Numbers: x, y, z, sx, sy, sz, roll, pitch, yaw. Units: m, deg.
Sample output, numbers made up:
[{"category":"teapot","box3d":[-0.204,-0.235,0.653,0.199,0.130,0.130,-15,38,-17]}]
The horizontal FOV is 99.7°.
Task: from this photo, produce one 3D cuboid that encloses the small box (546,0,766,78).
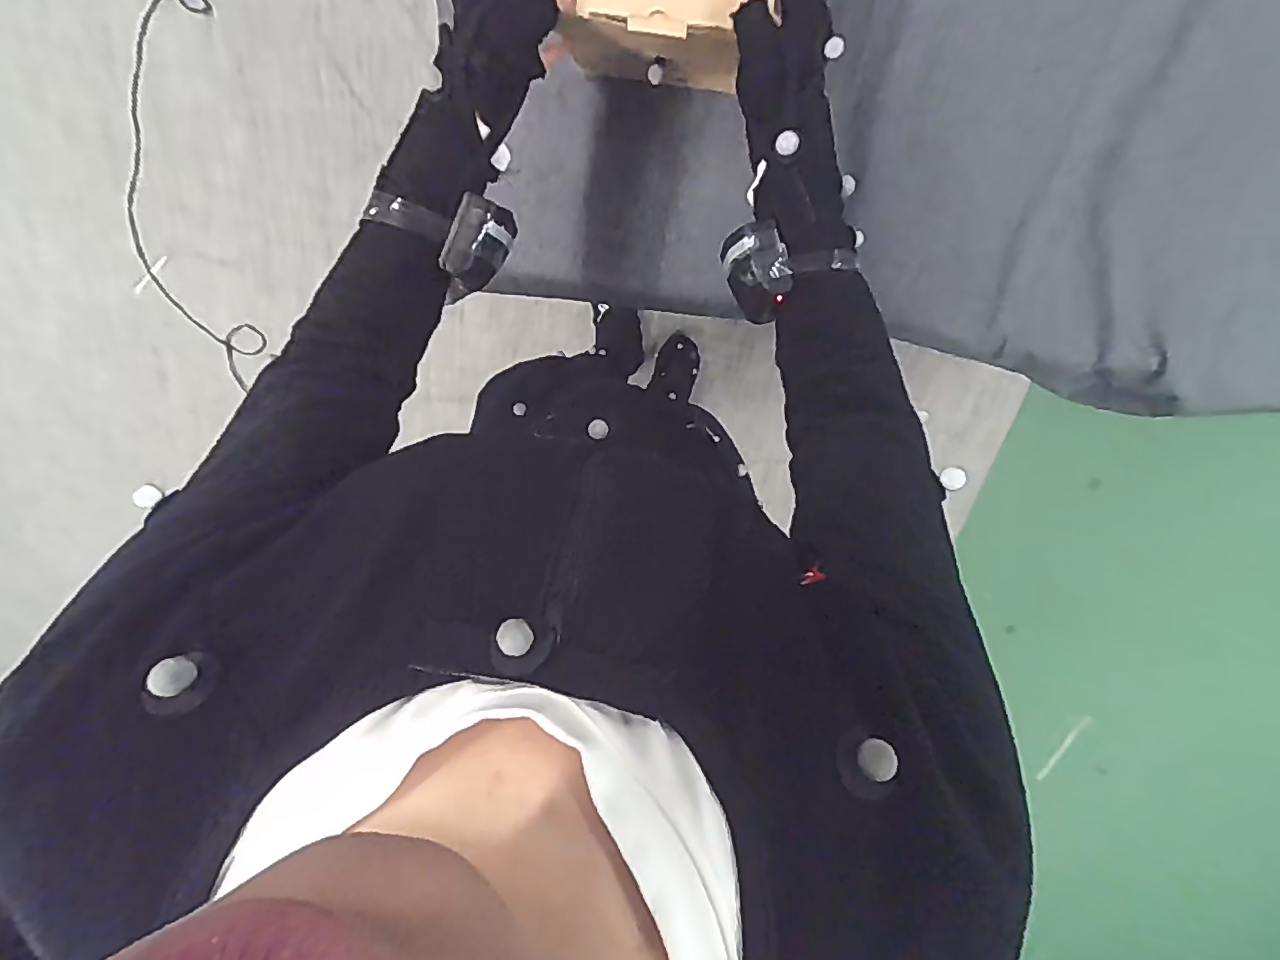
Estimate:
[{"category":"small box","box3d":[0.025,-0.450,0.434,0.168,0.176,0.179,7,115,1]}]
